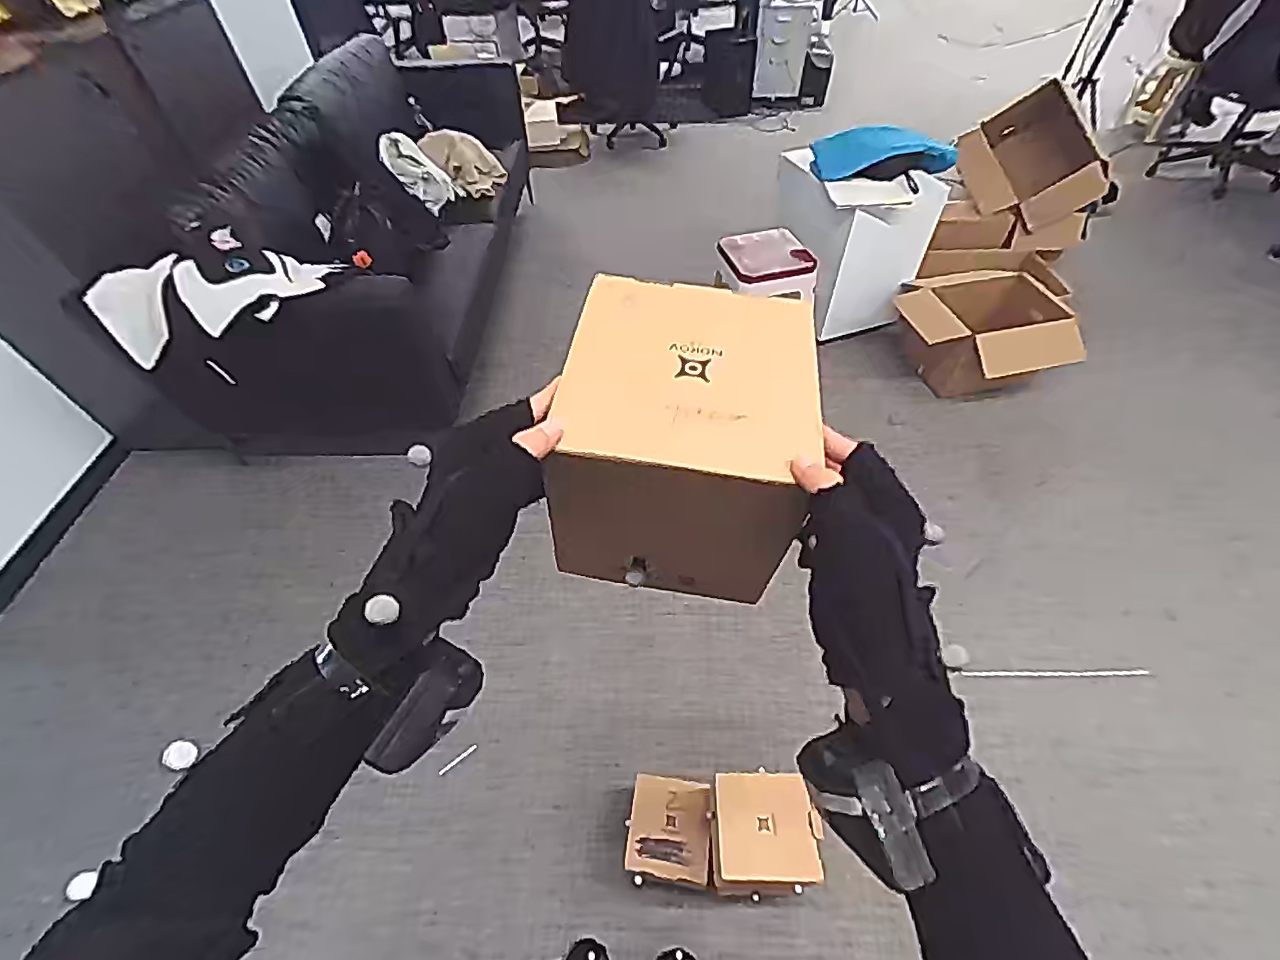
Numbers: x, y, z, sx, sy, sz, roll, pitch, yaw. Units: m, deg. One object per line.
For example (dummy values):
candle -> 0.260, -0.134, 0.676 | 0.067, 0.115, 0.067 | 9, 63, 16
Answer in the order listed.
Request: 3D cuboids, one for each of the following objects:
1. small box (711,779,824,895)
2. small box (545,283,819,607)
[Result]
small box -> 0.227, 0.675, 1.020 | 0.179, 0.176, 0.168 | 0, 50, 1
small box -> 0.031, -0.024, 0.427 | 0.168, 0.176, 0.179 | 8, 54, 3
